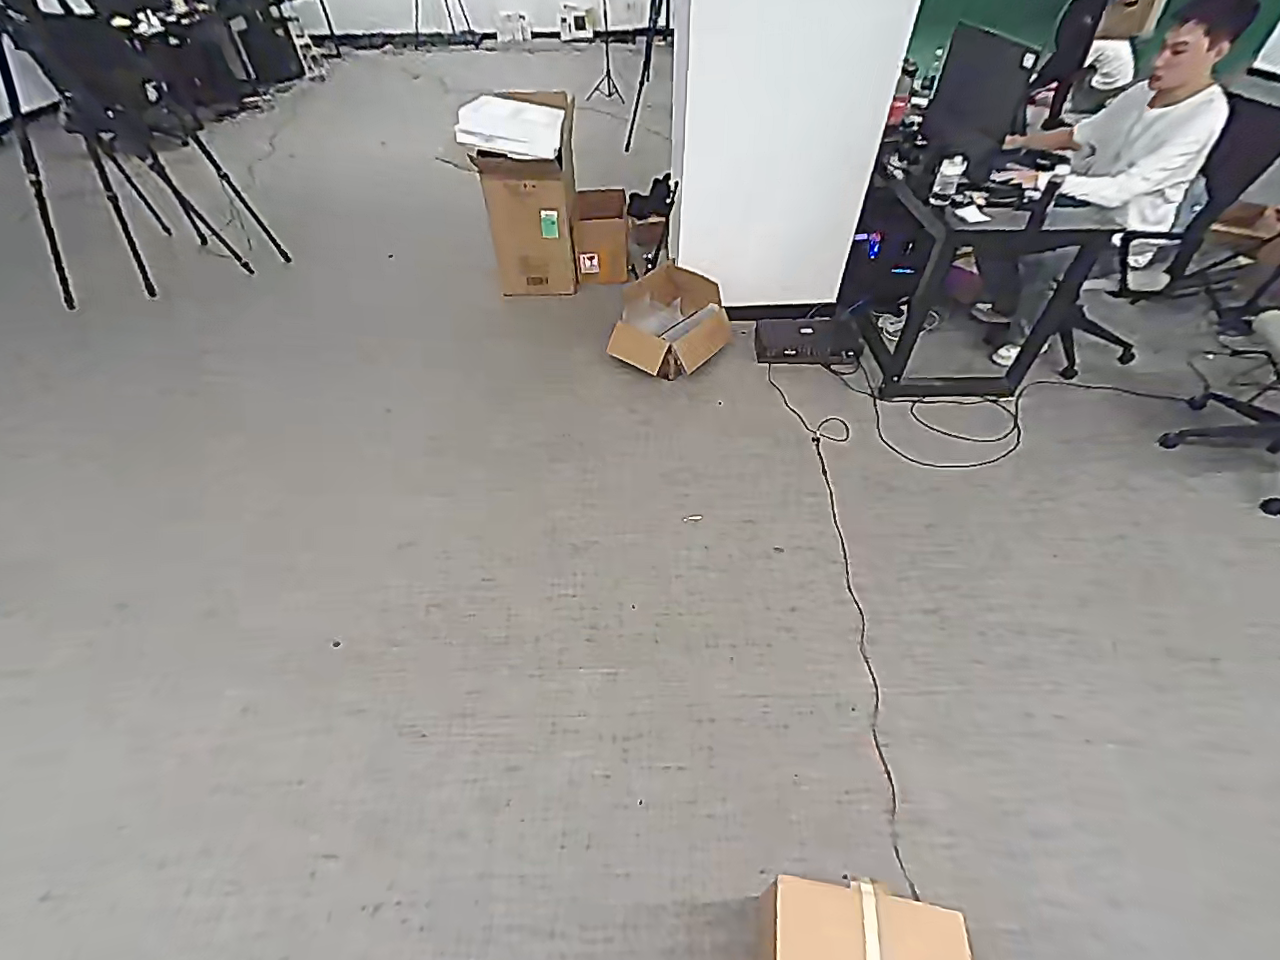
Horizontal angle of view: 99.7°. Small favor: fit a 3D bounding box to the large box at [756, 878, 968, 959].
[{"bbox_3d":[0.373,0.979,0.938,0.320,0.320,0.408,7,48,9],"label":"large box"}]
